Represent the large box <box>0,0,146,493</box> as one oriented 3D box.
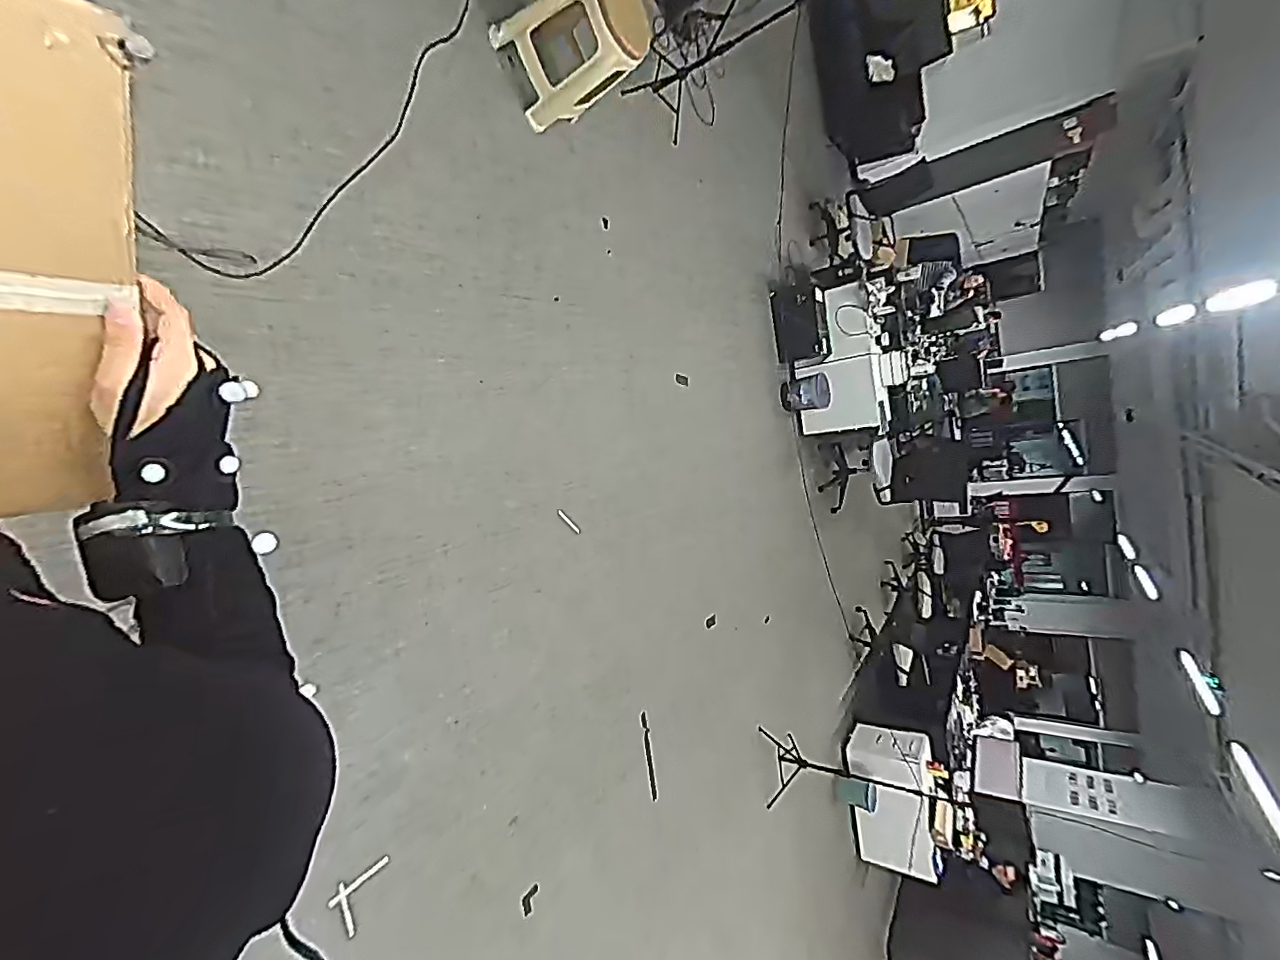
[{"bbox_3d":[-0.573,-0.178,0.283,0.408,0.320,0.320,-12,131,-51],"label":"large box"}]
